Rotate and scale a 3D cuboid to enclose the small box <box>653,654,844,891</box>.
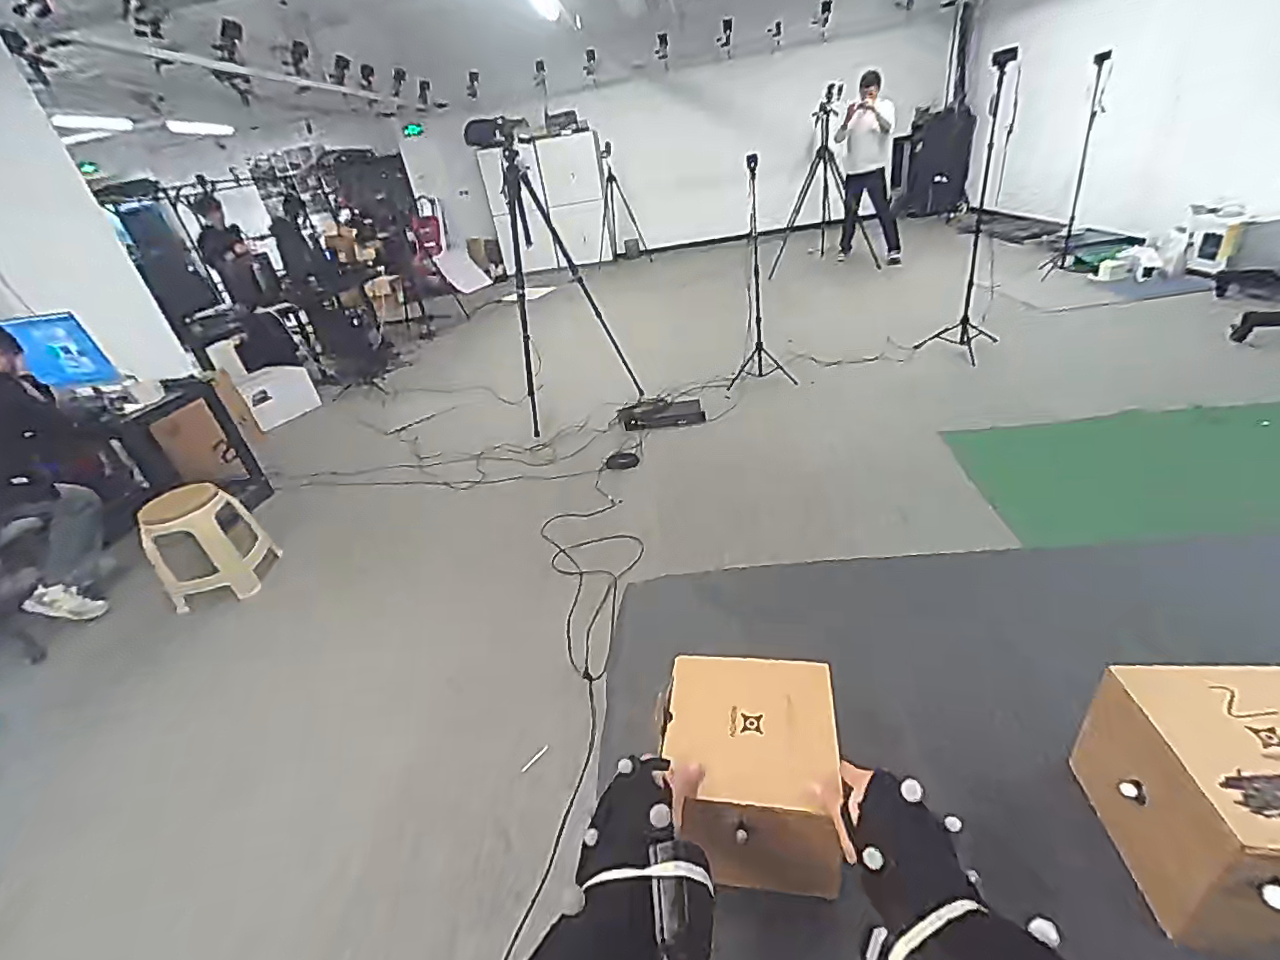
[{"bbox_3d":[0.122,0.316,0.597,0.179,0.176,0.168,-1,33,13],"label":"small box"}]
